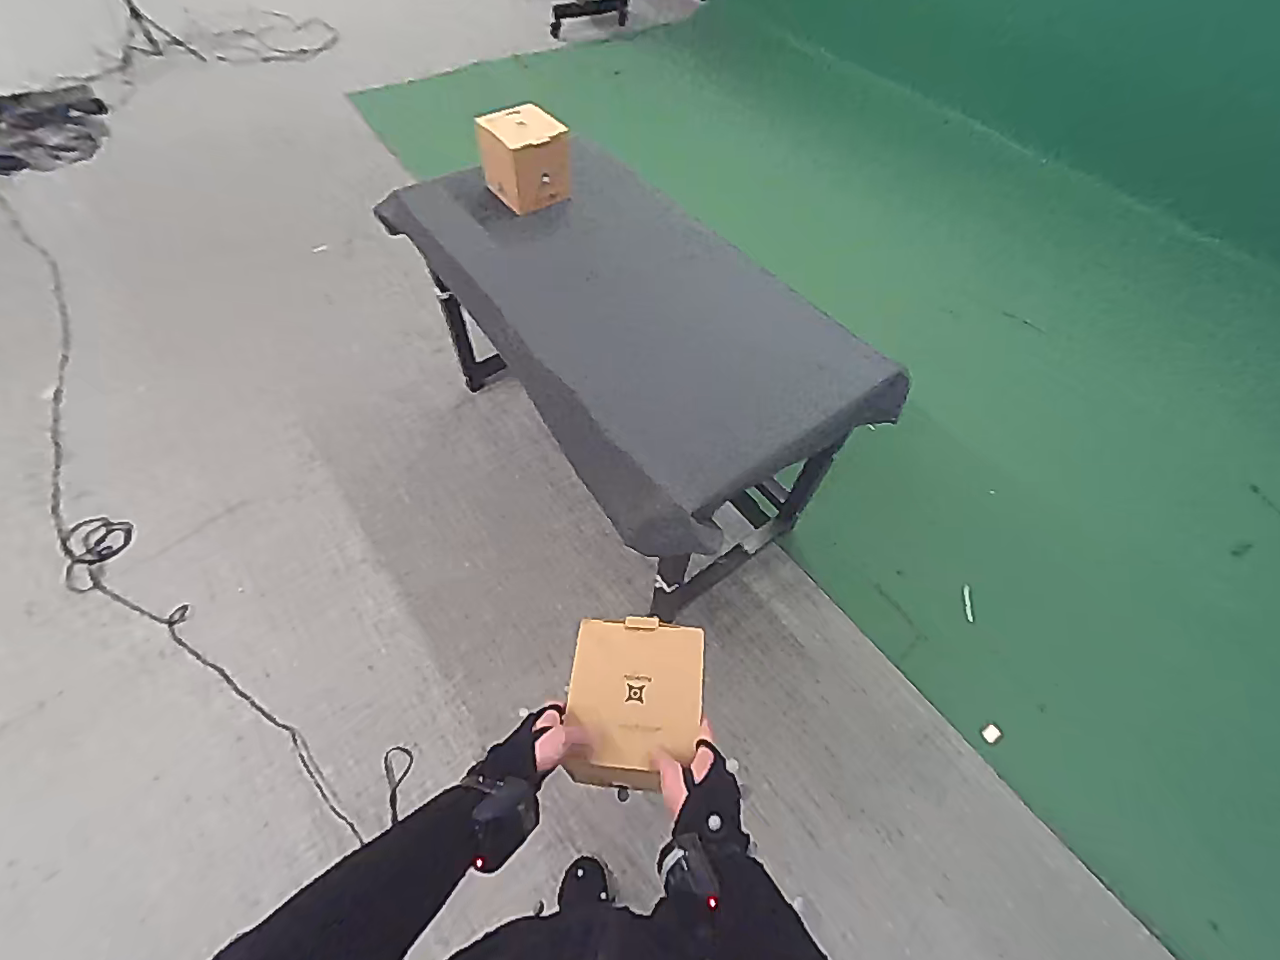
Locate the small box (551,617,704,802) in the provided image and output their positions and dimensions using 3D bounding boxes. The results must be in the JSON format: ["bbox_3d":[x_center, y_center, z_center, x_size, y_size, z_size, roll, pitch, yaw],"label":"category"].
[{"bbox_3d":[-0.007,0.303,0.712,0.168,0.176,0.179,4,52,7],"label":"small box"}]

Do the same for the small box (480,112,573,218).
[{"bbox_3d":[-0.287,-0.809,1.404,0.168,0.176,0.179,-32,65,-22],"label":"small box"}]
